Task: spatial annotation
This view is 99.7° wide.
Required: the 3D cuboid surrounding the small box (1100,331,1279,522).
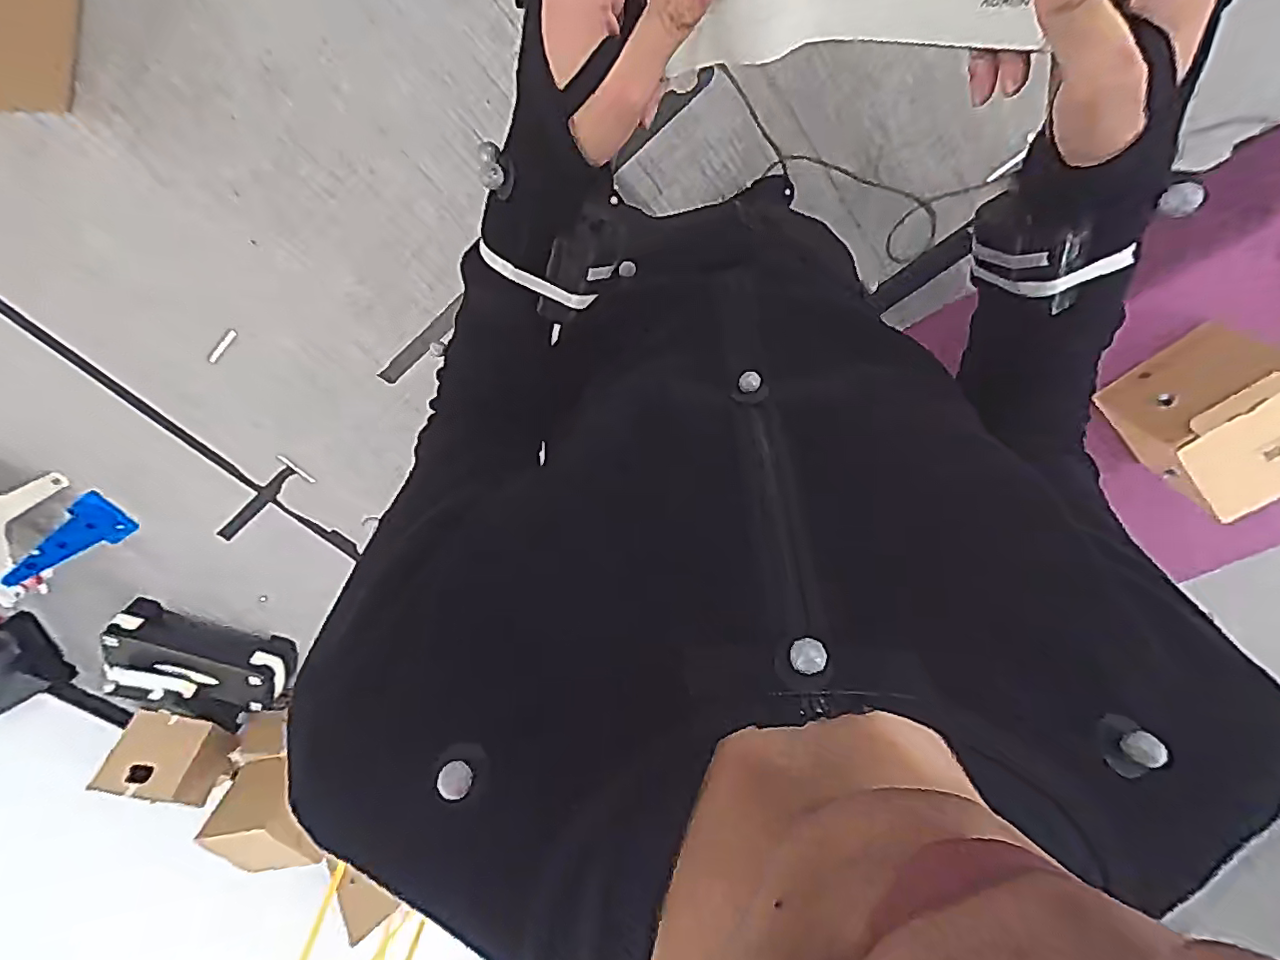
[{"bbox_3d":[0.801,-0.083,0.748,0.179,0.176,0.168,38,119,-20],"label":"small box"}]
